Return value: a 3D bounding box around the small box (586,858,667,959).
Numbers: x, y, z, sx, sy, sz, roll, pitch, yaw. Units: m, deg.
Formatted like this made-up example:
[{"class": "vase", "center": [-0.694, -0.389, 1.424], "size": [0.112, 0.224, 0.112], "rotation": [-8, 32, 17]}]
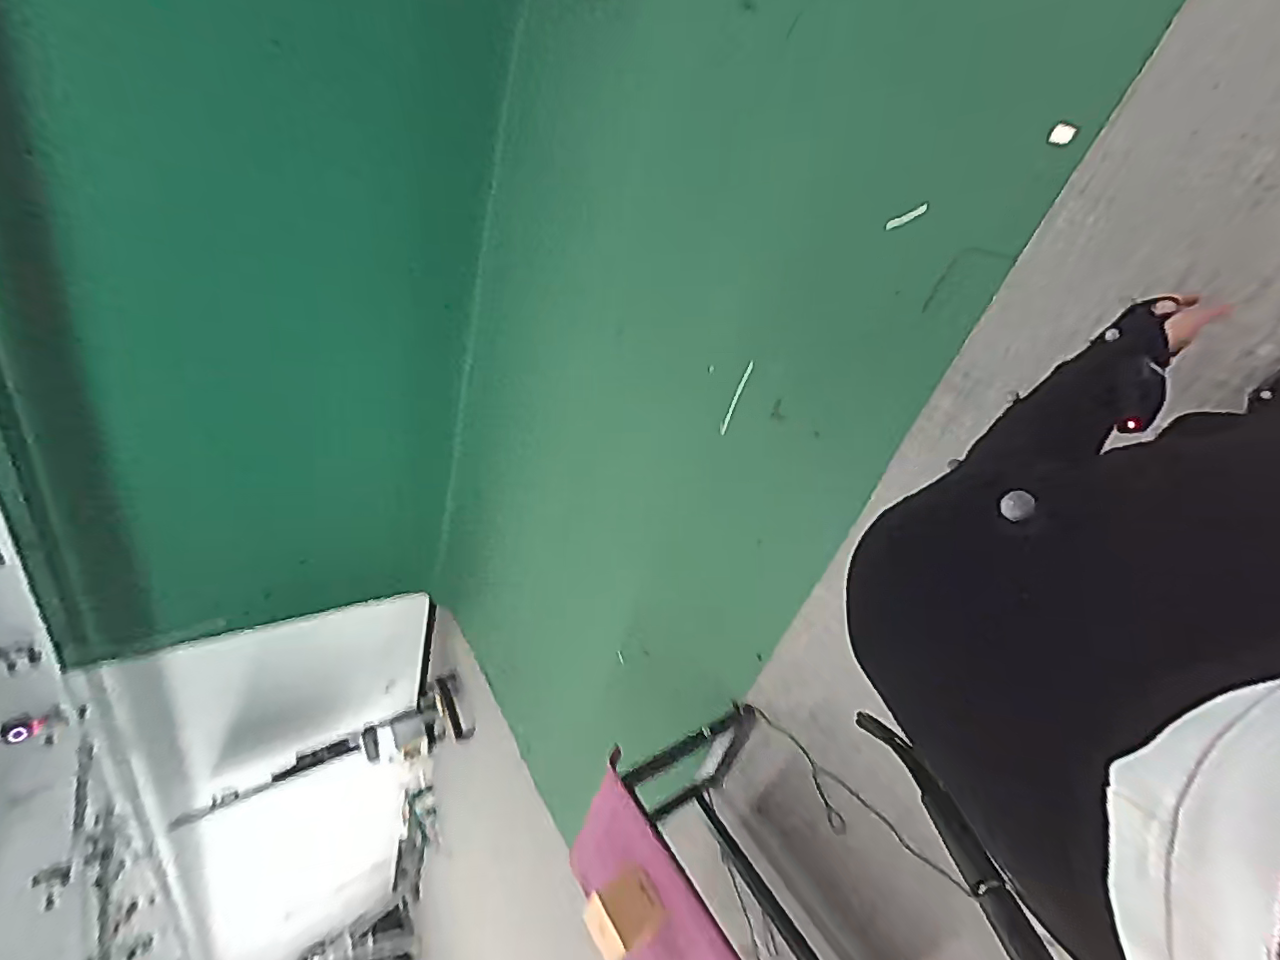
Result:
[{"class": "small box", "center": [-0.041, 1.329, 1.679], "size": [0.168, 0.176, 0.179], "rotation": [45, 130, 35]}]
